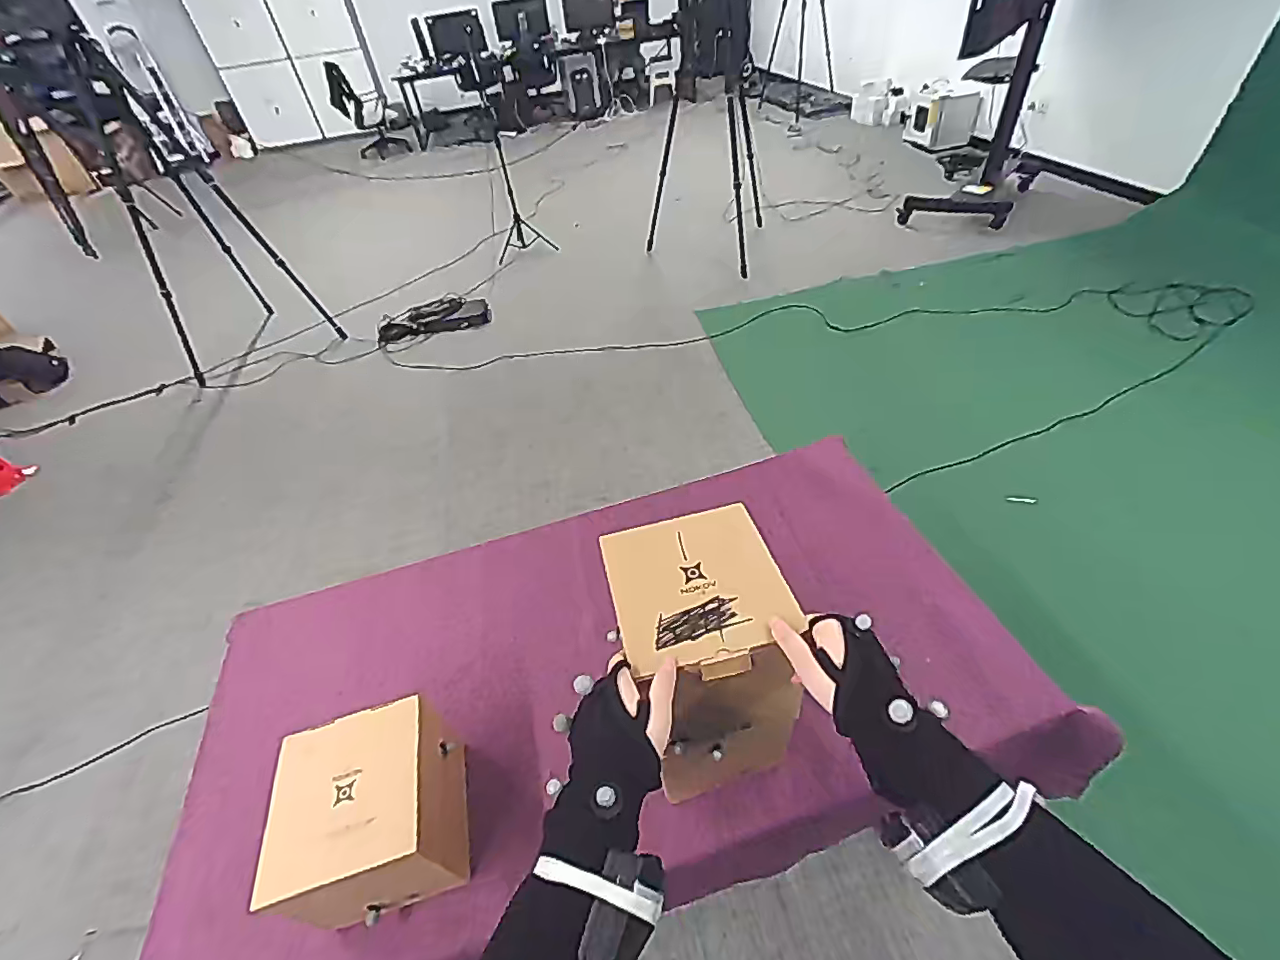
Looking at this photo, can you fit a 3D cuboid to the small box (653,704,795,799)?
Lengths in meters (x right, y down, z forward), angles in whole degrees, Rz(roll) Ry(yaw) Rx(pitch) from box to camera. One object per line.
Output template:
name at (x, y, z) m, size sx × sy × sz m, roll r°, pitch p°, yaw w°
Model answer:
small box at (0.086, 0.282, 0.713) m, size 0.168 × 0.176 × 0.179 m, roll -17°, pitch 44°, yaw -6°

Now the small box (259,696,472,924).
small box at (-0.314, 0.402, 0.661) m, size 0.168 × 0.176 × 0.179 m, roll -16°, pitch 46°, yaw -6°

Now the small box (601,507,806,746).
small box at (0.063, 0.162, 0.584) m, size 0.168 × 0.176 × 0.179 m, roll -13°, pitch 41°, yaw -5°
